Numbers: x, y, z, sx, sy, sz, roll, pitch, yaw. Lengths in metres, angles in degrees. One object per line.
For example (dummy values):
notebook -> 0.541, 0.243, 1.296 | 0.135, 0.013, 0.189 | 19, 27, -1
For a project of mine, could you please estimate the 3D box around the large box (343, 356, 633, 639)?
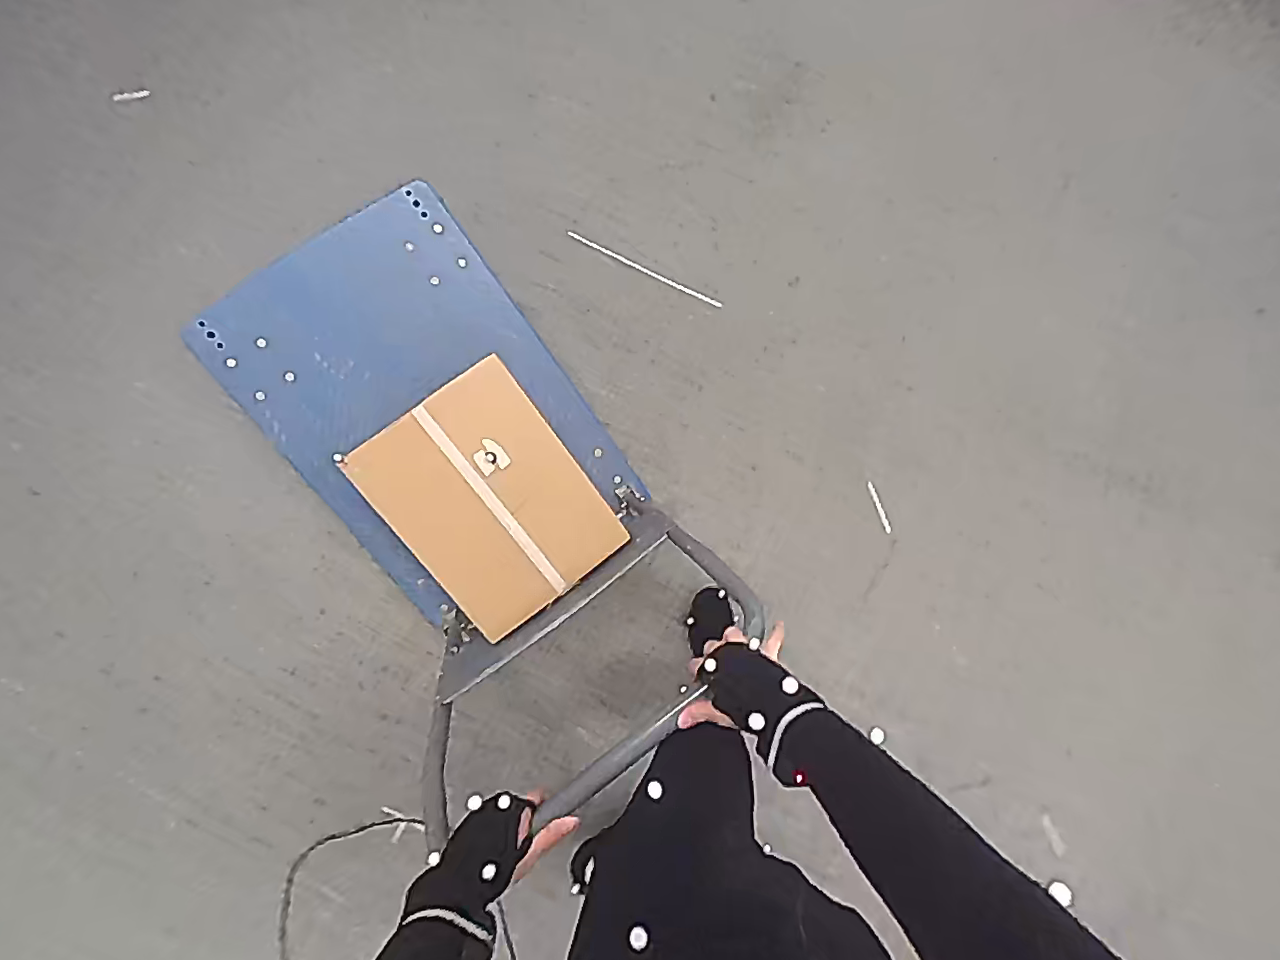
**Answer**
large box -> -0.273, 0.023, 1.066 | 0.320, 0.320, 0.408 | -38, 102, -7
